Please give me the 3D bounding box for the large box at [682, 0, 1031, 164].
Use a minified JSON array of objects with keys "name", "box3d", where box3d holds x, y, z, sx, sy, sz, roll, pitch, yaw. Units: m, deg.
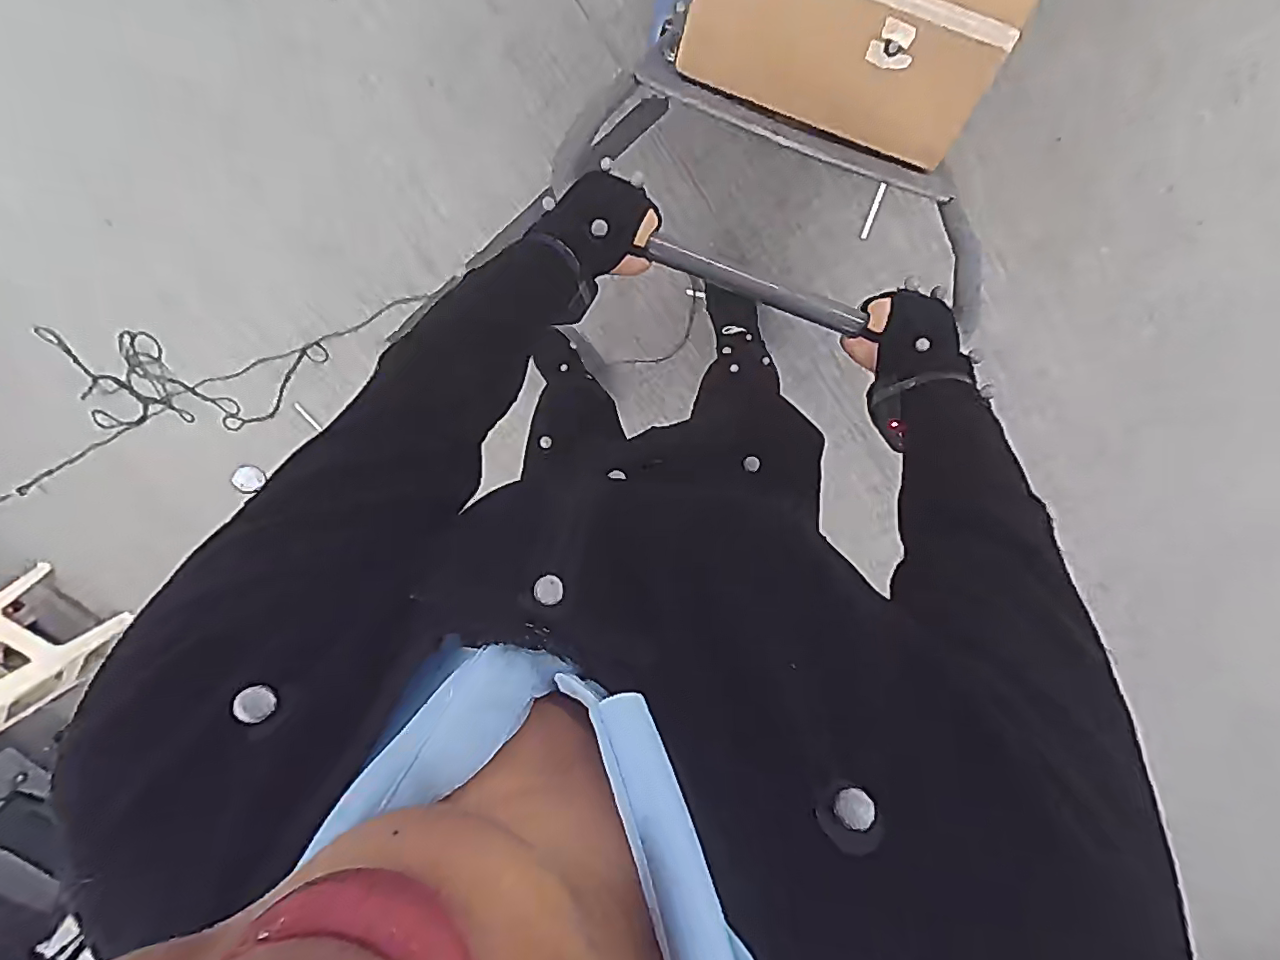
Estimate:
[{"name":"large box","box3d":[0.311,-0.726,0.787,0.408,0.320,0.320,19,136,-3]}]
